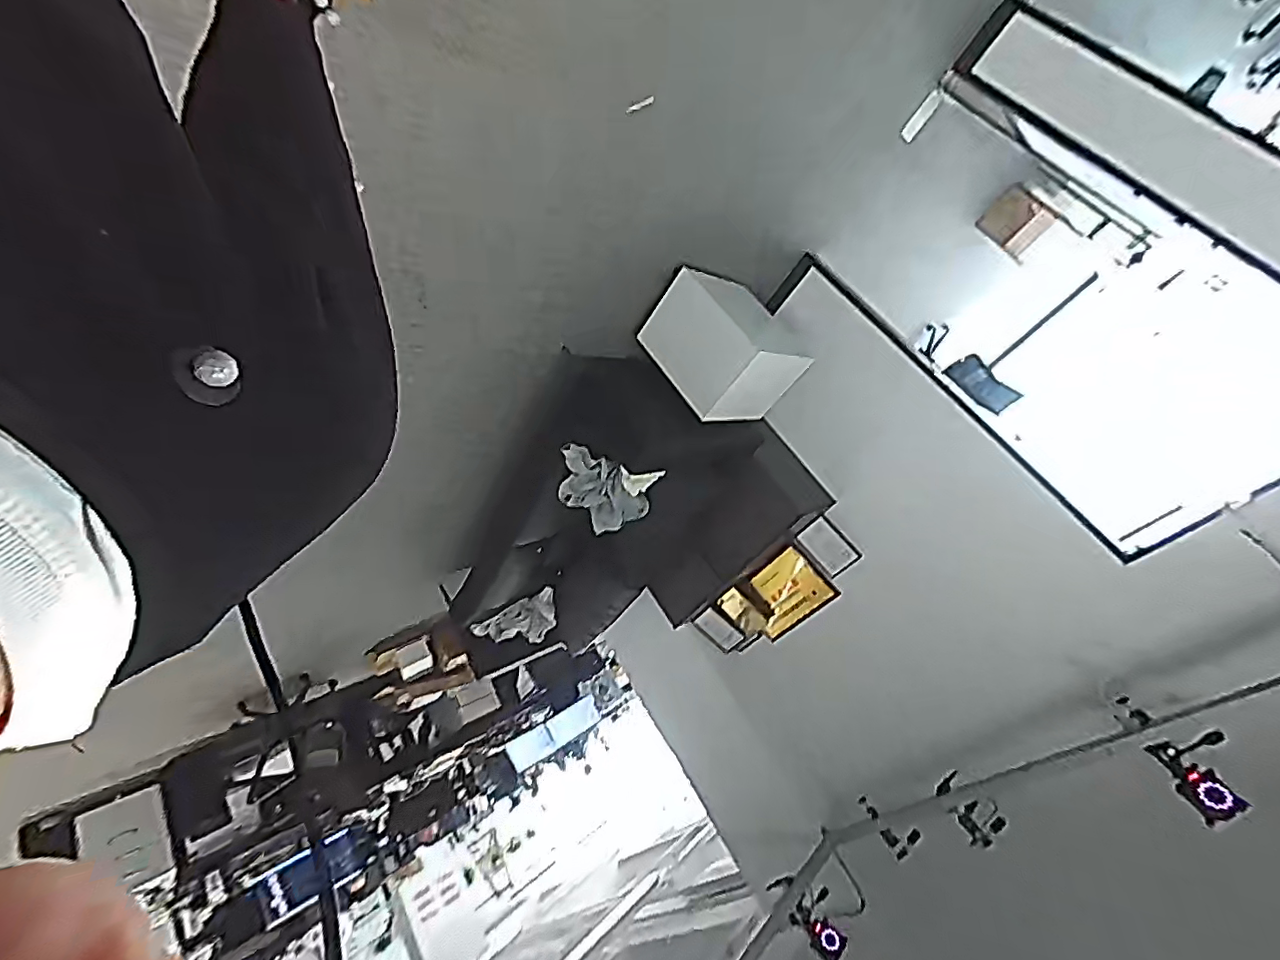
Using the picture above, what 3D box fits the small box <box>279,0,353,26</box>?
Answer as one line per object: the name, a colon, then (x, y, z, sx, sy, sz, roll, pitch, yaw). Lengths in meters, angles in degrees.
small box: (-0.370, -0.656, 0.591, 0.168, 0.176, 0.179, 32, 76, -54)
